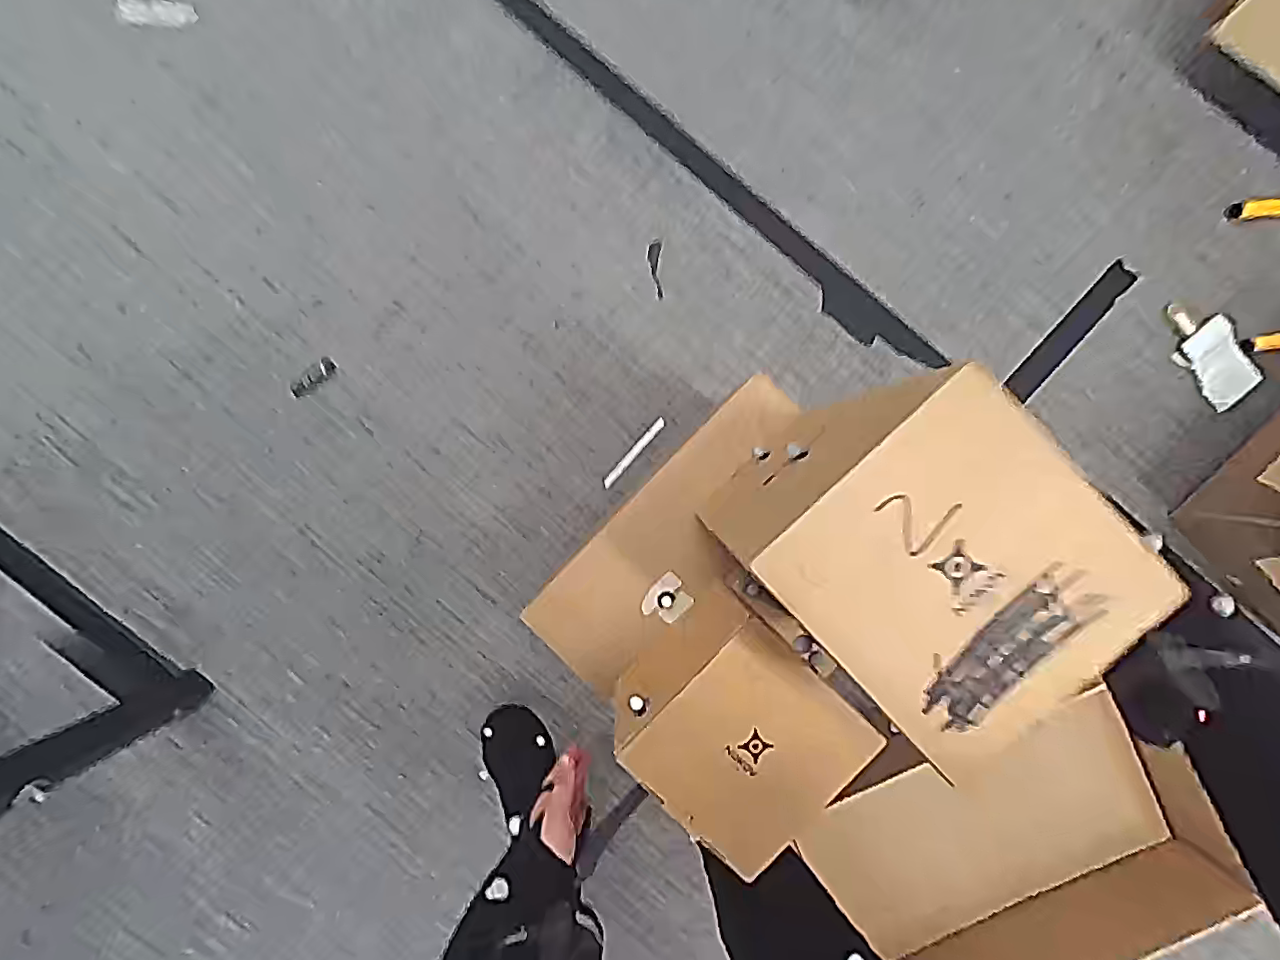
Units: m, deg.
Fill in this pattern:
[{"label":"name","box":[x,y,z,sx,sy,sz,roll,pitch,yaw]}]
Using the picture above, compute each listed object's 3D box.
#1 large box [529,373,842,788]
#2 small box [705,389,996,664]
[{"label":"large box","box":[0.112,0.113,0.779,0.320,0.320,0.408,43,92,0]},{"label":"small box","box":[0.182,0.038,0.531,0.168,0.176,0.179,-43,91,3]}]
